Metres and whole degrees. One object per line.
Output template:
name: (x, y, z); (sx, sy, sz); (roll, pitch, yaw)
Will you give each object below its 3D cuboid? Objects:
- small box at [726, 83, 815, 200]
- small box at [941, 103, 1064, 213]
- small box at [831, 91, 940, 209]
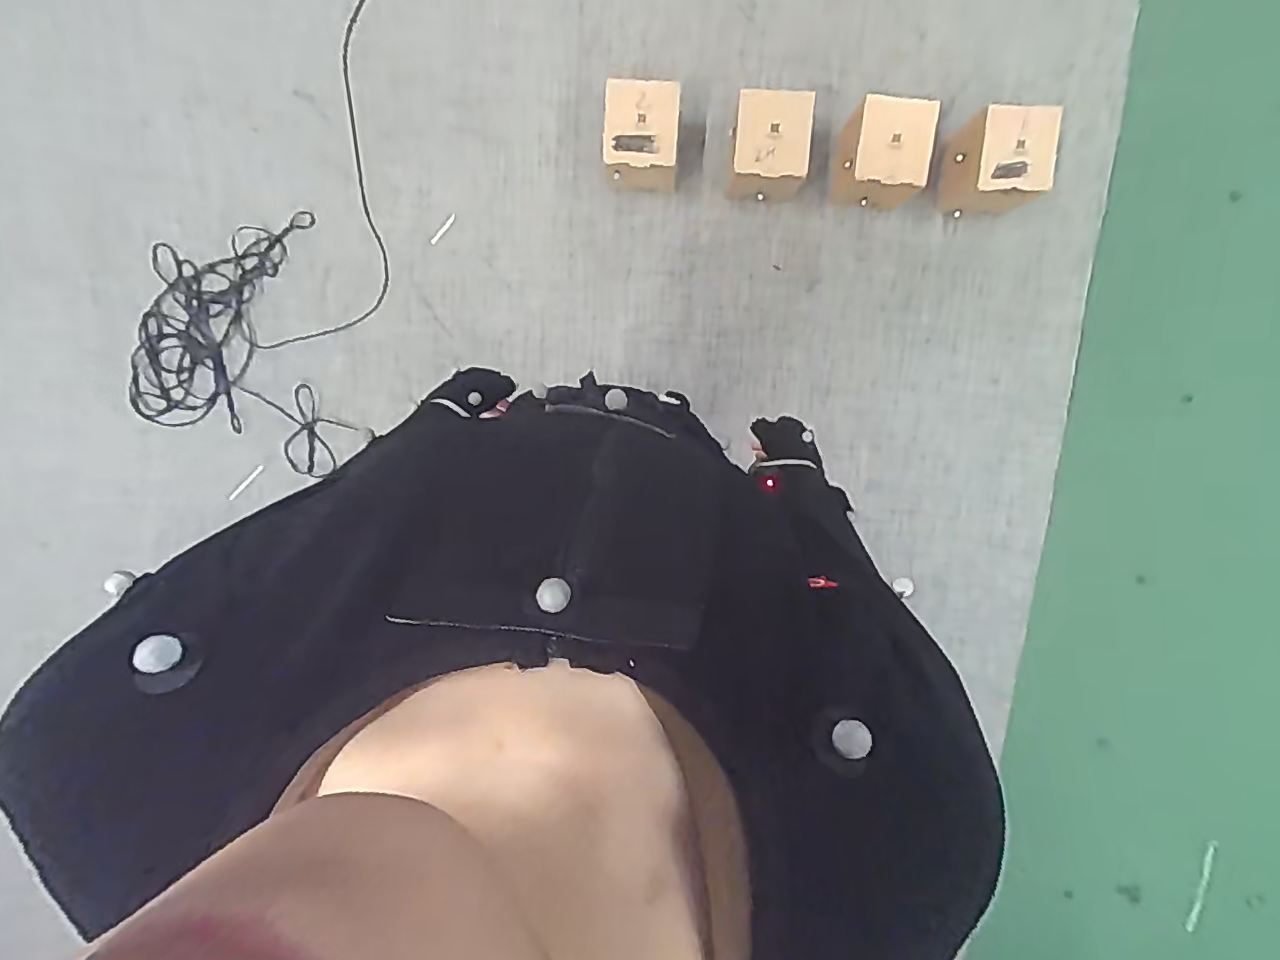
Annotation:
small box: (0.296, -0.783, 1.264); (0.168, 0.176, 0.179); (4, 100, 2)
small box: (0.832, -0.741, 1.262); (0.168, 0.176, 0.179); (3, 99, 1)
small box: (0.564, -0.763, 1.265); (0.168, 0.176, 0.179); (6, 100, 0)
